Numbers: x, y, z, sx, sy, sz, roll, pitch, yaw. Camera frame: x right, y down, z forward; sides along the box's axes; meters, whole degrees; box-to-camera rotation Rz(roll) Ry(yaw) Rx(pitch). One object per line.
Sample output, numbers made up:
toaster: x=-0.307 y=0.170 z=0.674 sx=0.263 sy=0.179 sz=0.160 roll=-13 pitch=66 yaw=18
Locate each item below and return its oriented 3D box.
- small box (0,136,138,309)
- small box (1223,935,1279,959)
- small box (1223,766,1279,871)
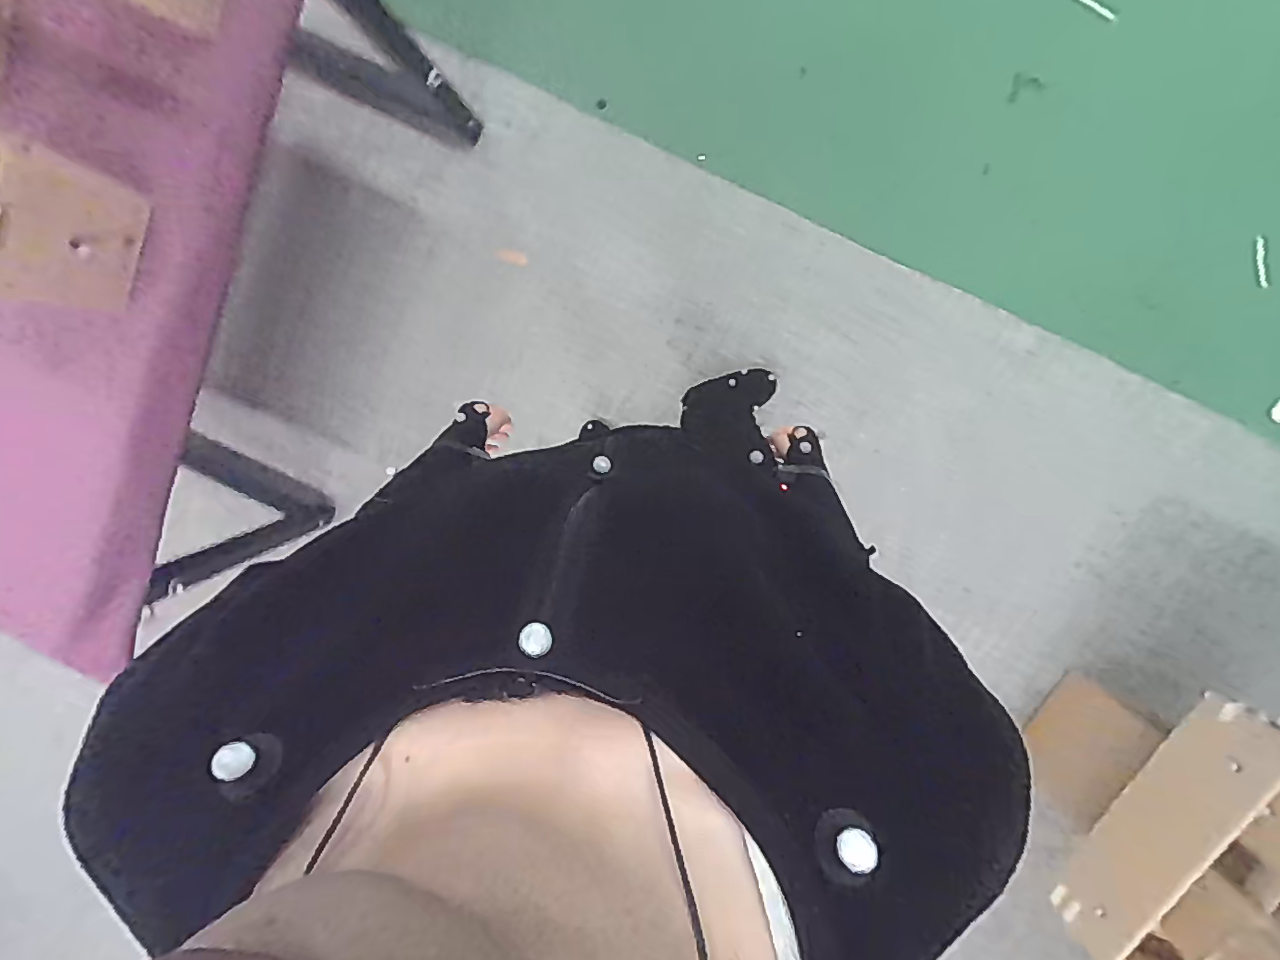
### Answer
small box: x=-0.784 y=-0.324 z=0.663 sx=0.179 sy=0.176 sz=0.168 roll=26 pitch=102 yaw=-1
small box: x=1.170 y=0.958 z=0.948 sx=0.179 sy=0.176 sz=0.168 roll=31 pitch=103 yaw=-2
small box: x=1.328 y=0.696 z=1.047 sx=0.179 sy=0.176 sz=0.168 roll=23 pitch=102 yaw=0
